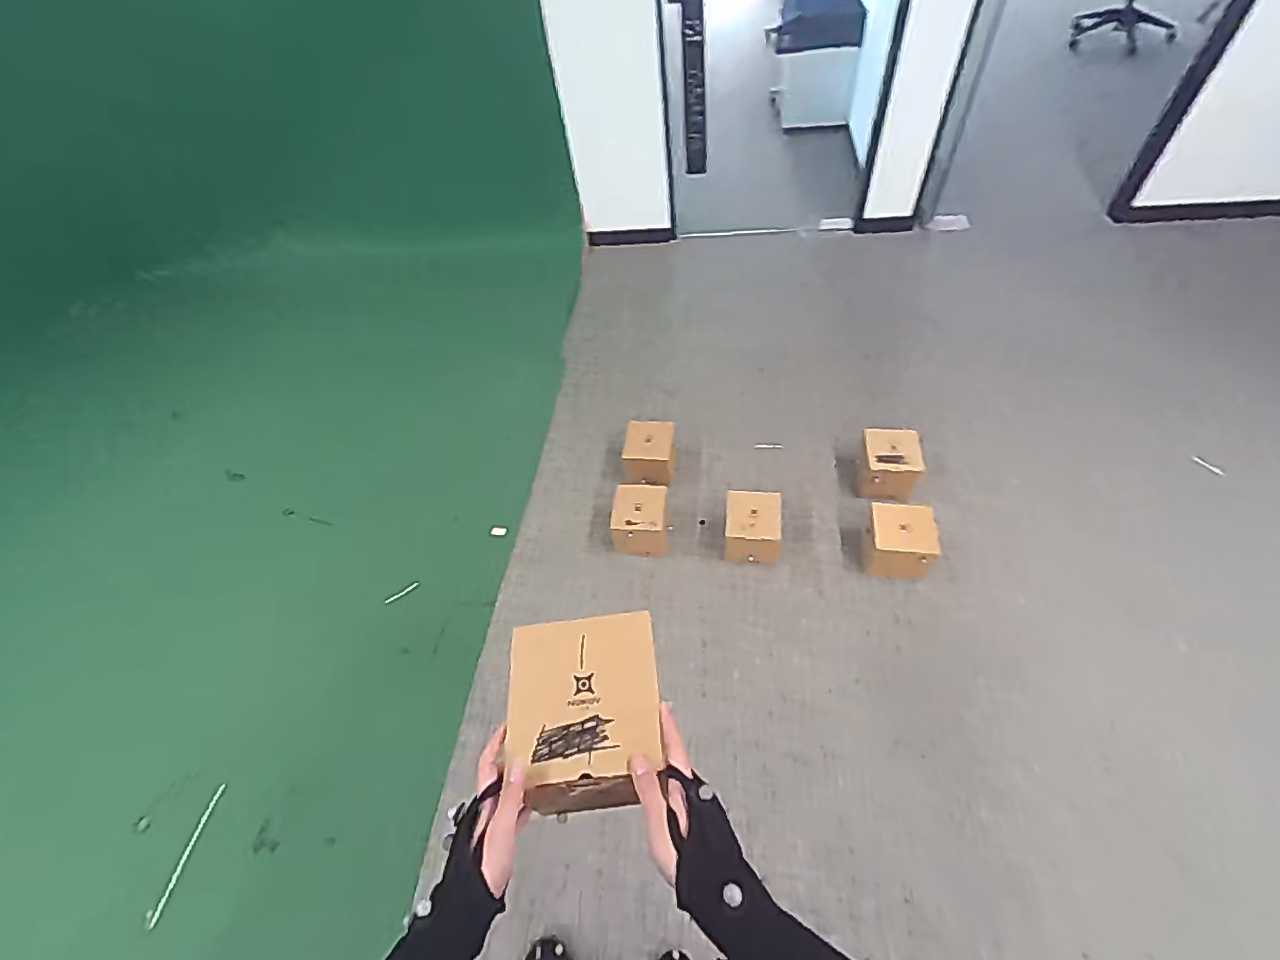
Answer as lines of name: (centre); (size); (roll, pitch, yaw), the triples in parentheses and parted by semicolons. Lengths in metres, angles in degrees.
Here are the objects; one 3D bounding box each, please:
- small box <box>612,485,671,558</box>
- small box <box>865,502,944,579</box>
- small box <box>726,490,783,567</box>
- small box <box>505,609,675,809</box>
small box: (0.010, 0.136, 1.780); (0.168, 0.176, 0.179); (1, 52, 10)
small box: (0.788, 0.185, 1.634); (0.179, 0.176, 0.168); (4, 54, 10)
small box: (0.362, 0.154, 1.716); (0.168, 0.176, 0.179); (3, 54, 11)
small box: (-0.050, 0.275, 0.638); (0.168, 0.176, 0.179); (-6, 49, 1)
